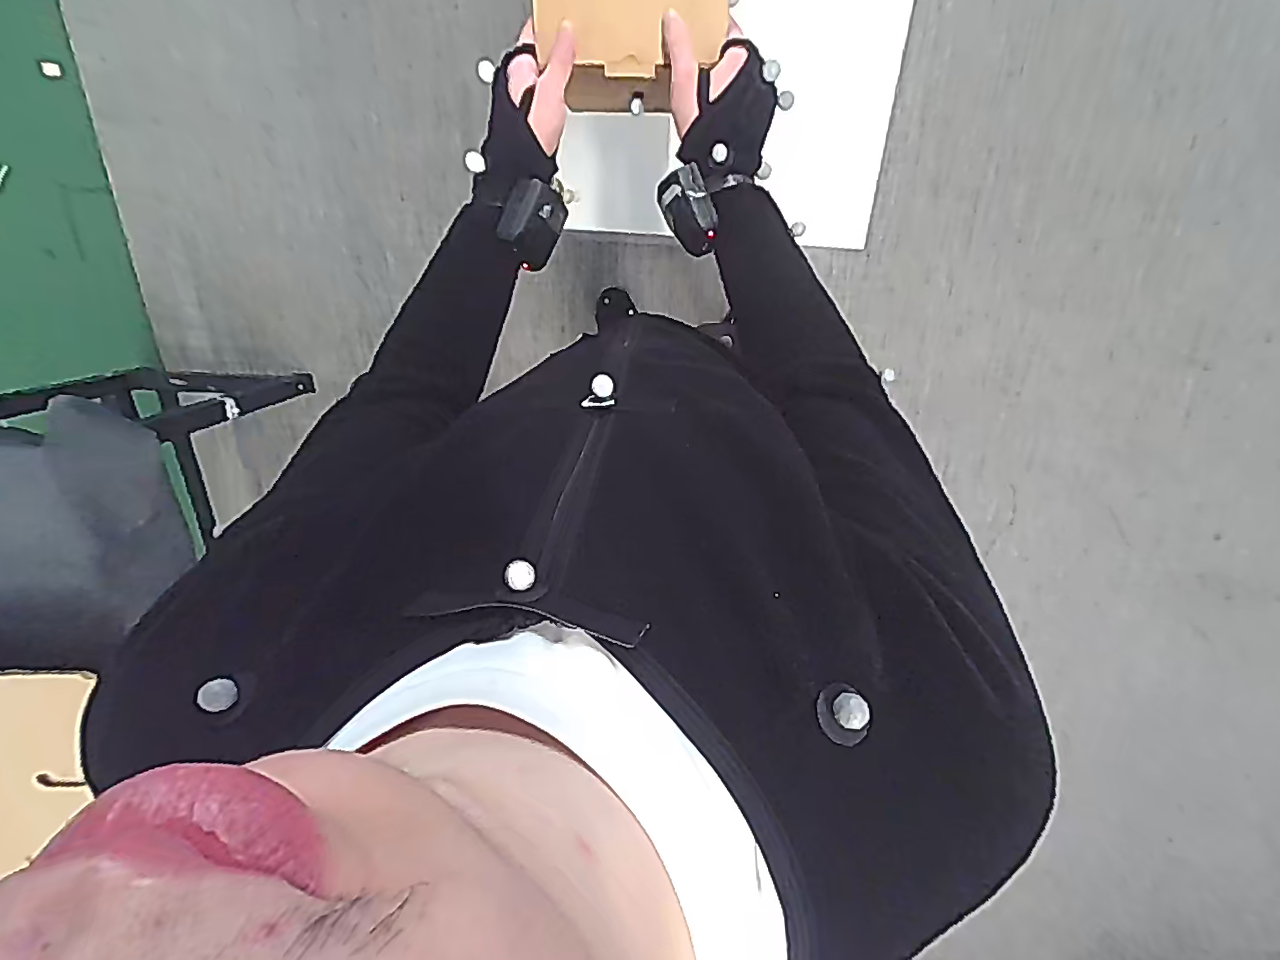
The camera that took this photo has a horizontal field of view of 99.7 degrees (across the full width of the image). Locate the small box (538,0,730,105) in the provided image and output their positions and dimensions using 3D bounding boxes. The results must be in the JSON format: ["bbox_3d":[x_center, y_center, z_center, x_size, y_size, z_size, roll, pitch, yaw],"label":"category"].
[{"bbox_3d":[0.001,-0.472,0.508,0.168,0.176,0.179,0,113,4],"label":"small box"}]
